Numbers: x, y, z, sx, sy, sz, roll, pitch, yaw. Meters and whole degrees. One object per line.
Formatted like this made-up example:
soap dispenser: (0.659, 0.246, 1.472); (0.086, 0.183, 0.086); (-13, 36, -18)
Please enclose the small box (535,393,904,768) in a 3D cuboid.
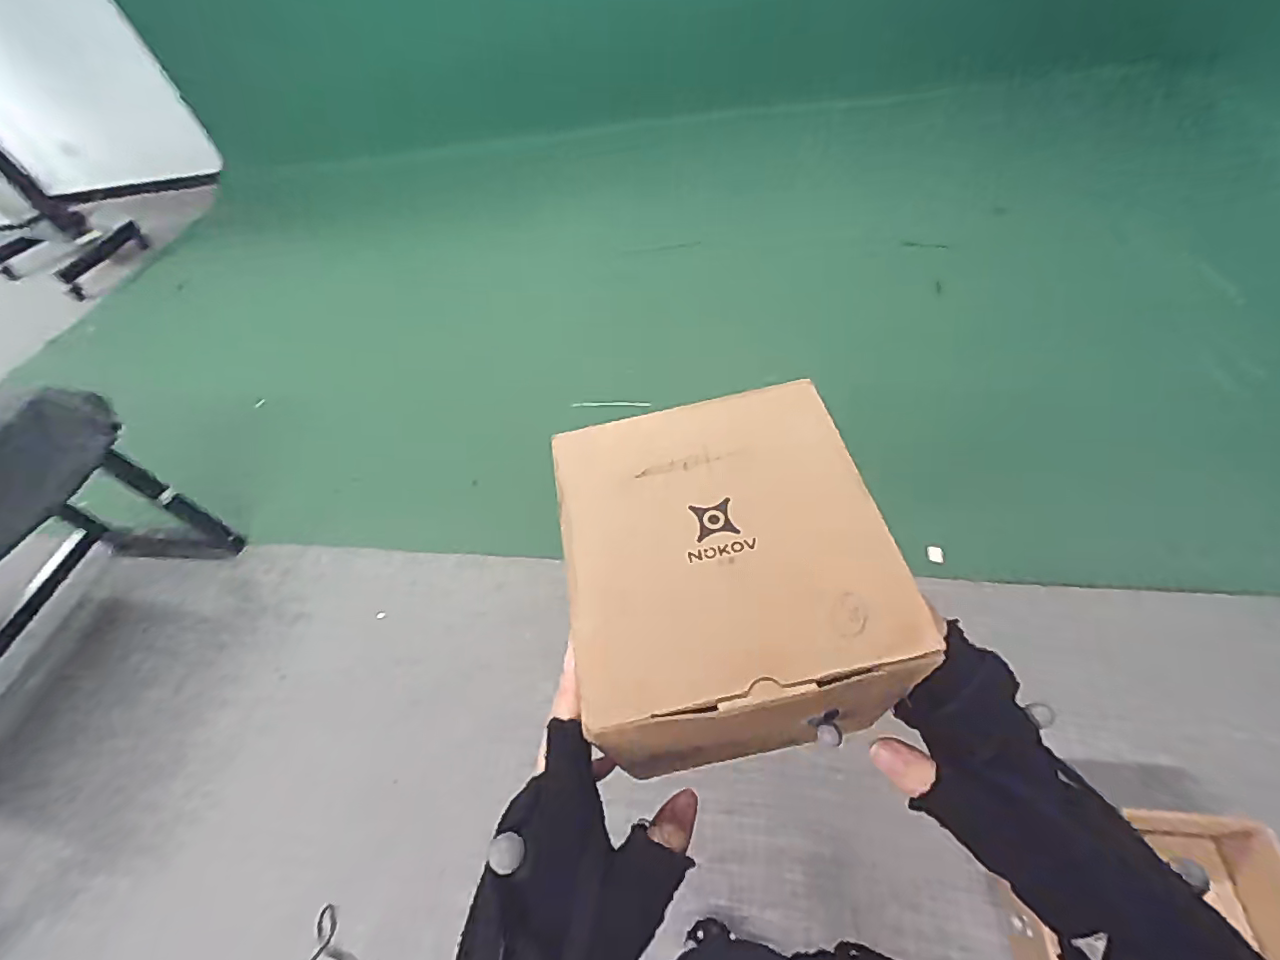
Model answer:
small box: (0.038, 0.076, 0.357); (0.168, 0.176, 0.179); (-13, 54, -1)
